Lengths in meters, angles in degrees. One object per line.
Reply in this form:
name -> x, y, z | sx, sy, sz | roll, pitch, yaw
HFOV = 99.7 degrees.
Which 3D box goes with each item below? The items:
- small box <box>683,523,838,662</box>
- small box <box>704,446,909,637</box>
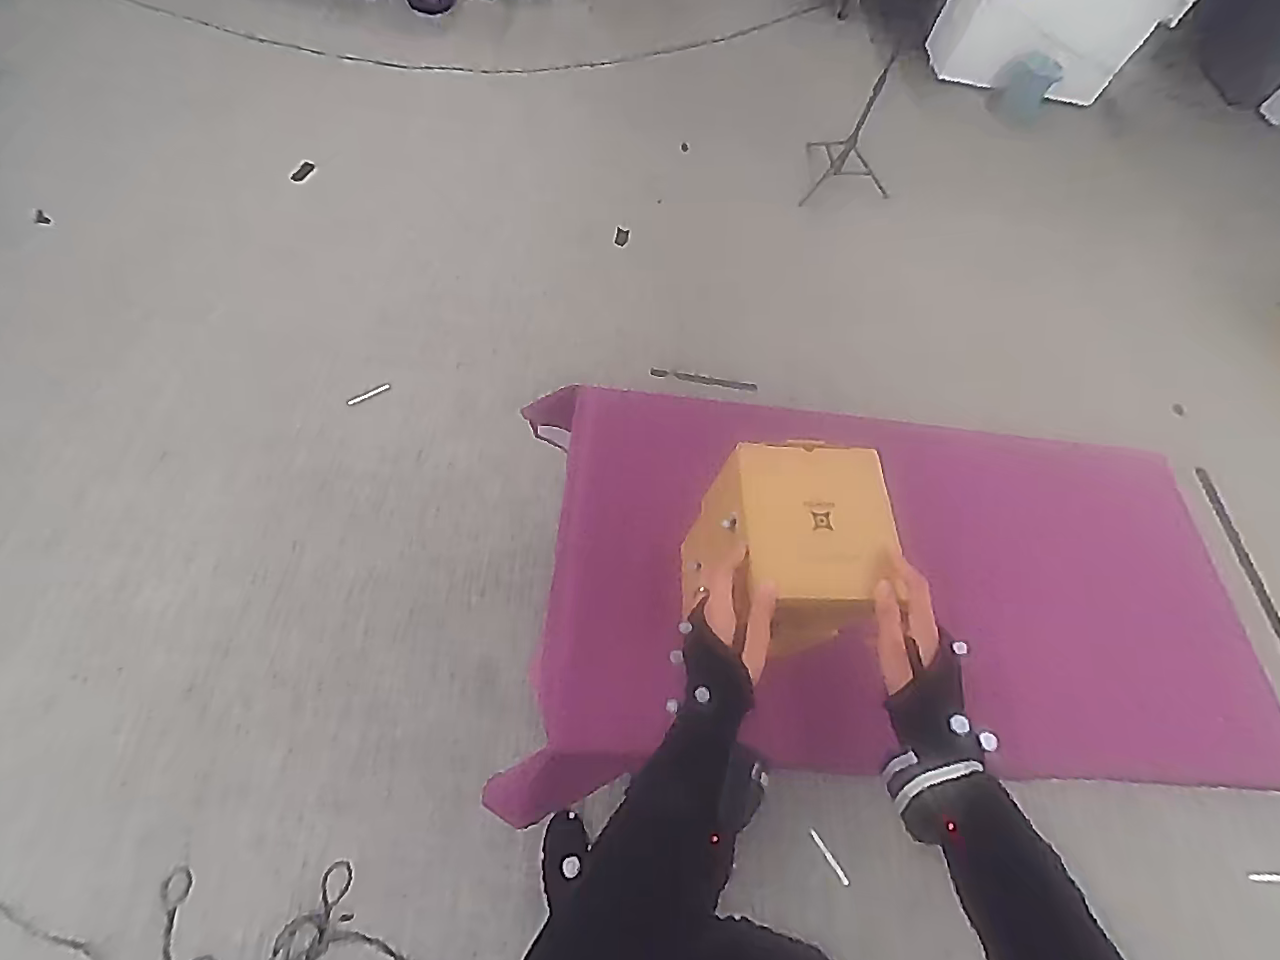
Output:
small box -> 0.160, 0.156, 0.782 | 0.168, 0.176, 0.179 | 4, 62, -7
small box -> 0.177, 0.080, 0.639 | 0.168, 0.176, 0.179 | 3, 64, -7
